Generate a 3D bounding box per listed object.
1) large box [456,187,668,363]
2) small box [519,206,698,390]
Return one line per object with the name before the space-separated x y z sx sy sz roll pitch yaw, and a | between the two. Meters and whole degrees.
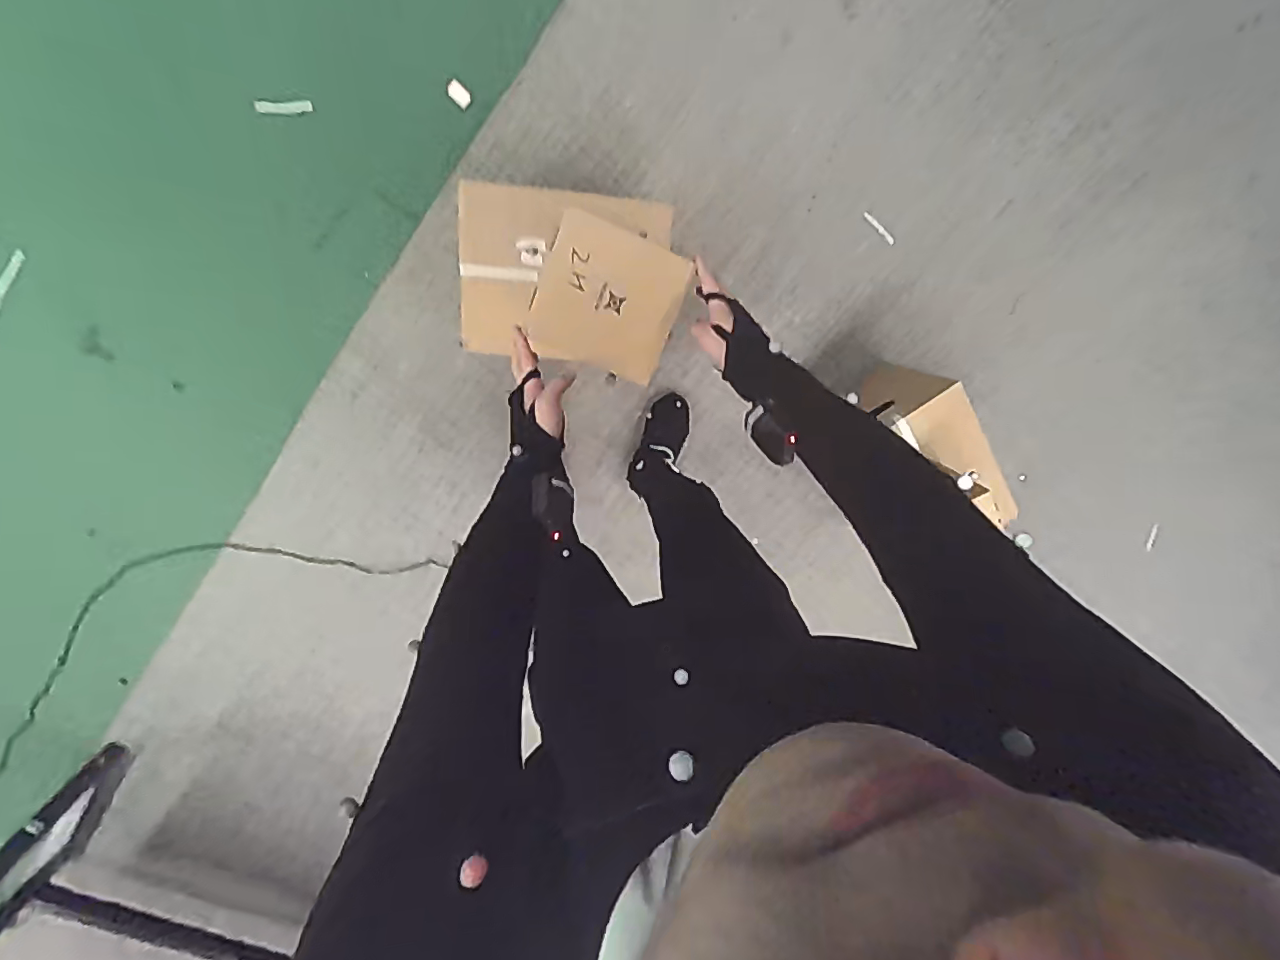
large box | -0.163 -0.439 1.202 0.408 0.320 0.320 3 108 -6
small box | -0.046 -0.239 0.743 0.179 0.176 0.168 23 100 -10
